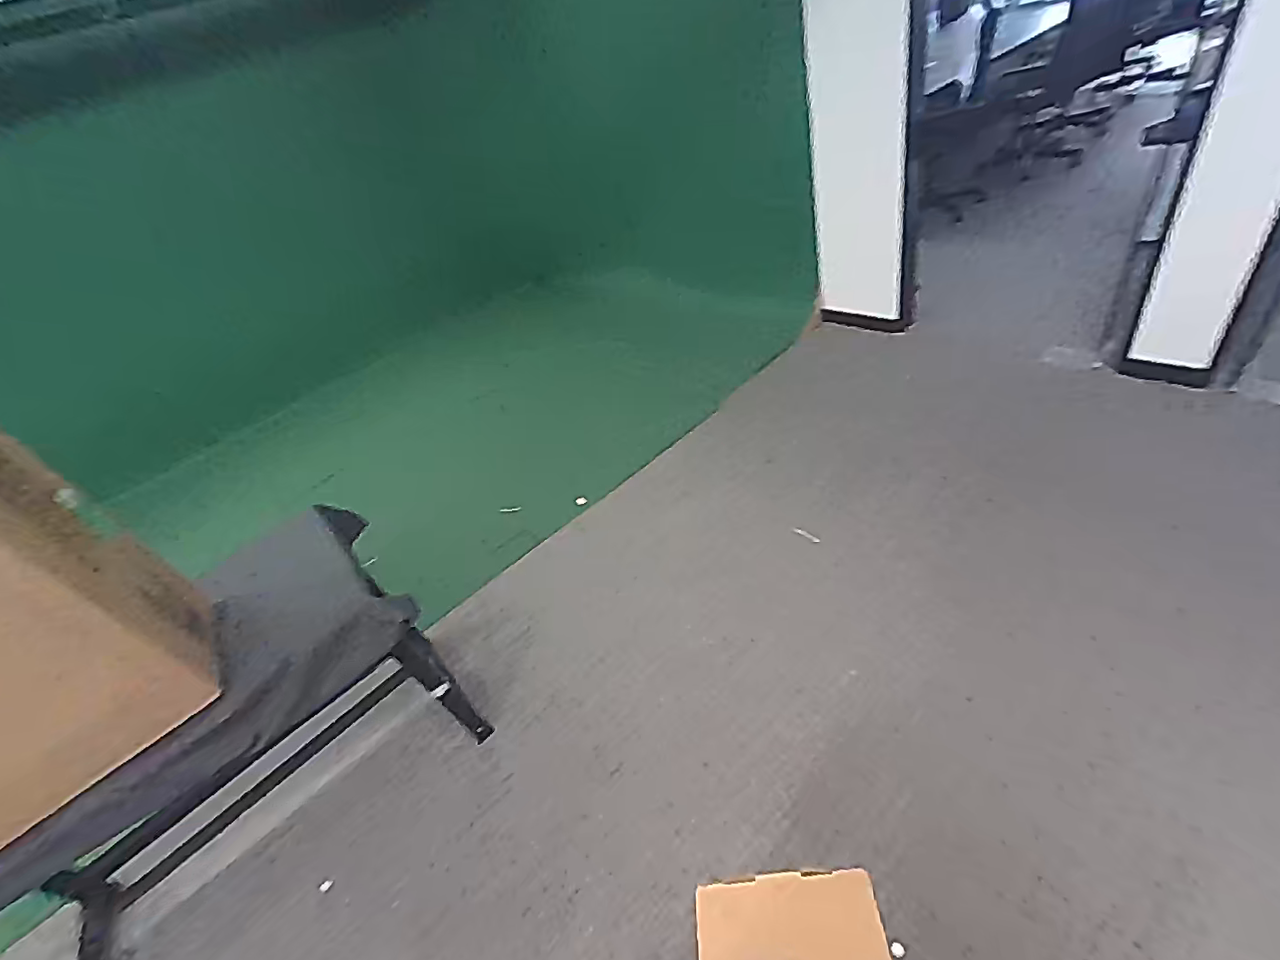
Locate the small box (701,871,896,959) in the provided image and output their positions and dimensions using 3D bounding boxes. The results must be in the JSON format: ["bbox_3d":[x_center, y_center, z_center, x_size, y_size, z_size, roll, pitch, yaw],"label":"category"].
[{"bbox_3d":[0.157,0.494,0.490,0.168,0.176,0.179,-14,34,10],"label":"small box"}]
